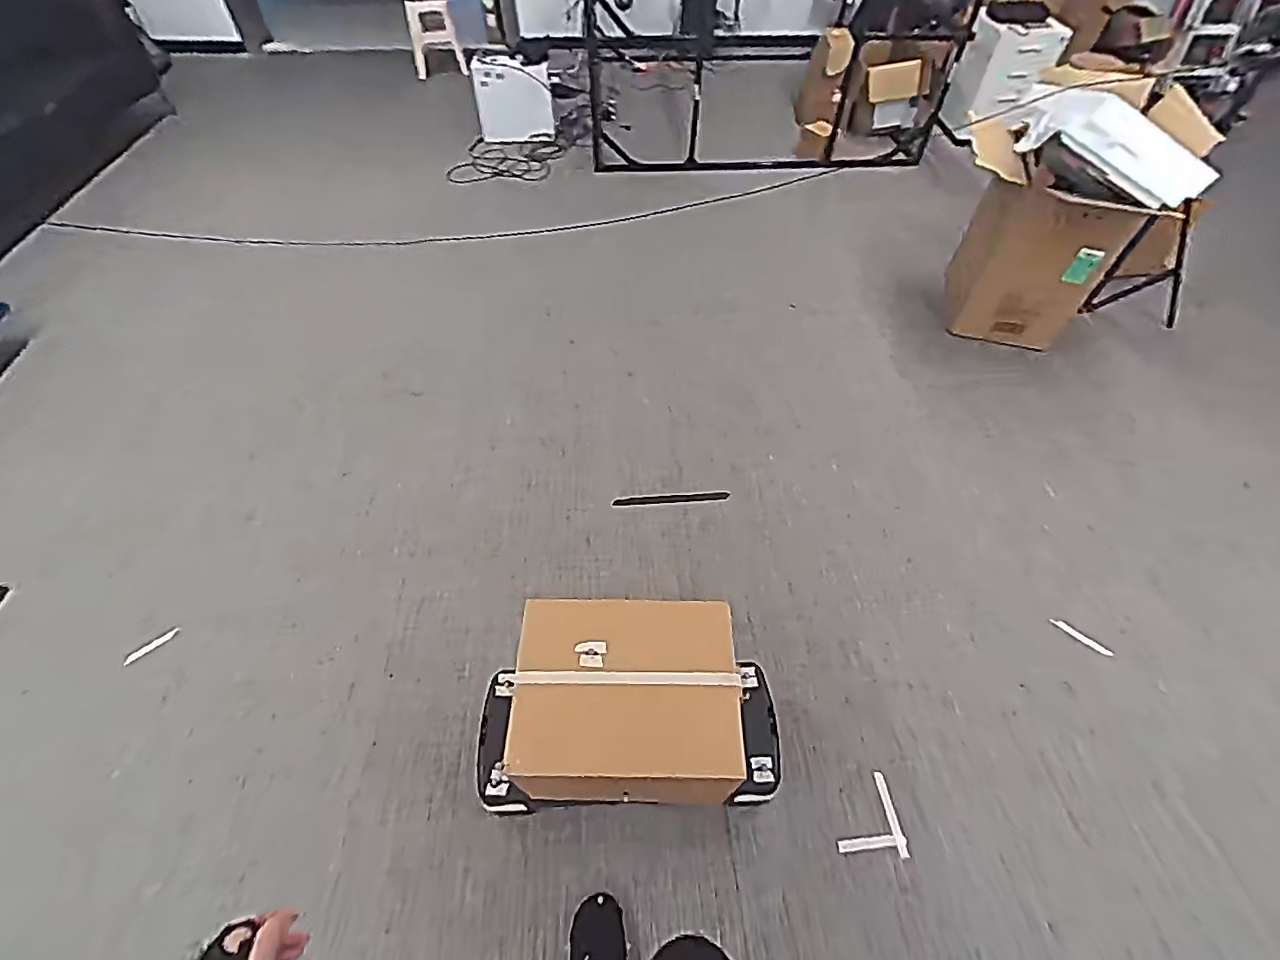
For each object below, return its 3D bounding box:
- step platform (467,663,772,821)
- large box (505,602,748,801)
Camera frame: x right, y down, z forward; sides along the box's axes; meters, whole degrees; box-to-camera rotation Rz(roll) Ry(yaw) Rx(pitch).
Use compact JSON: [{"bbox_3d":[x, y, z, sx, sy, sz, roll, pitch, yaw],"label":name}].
[{"bbox_3d":[-0.042,0.606,1.266,0.684,0.204,0.286,2,53,2],"label":"step platform"},{"bbox_3d":[-0.020,0.452,1.083,0.408,0.320,0.320,0,52,1],"label":"large box"}]
